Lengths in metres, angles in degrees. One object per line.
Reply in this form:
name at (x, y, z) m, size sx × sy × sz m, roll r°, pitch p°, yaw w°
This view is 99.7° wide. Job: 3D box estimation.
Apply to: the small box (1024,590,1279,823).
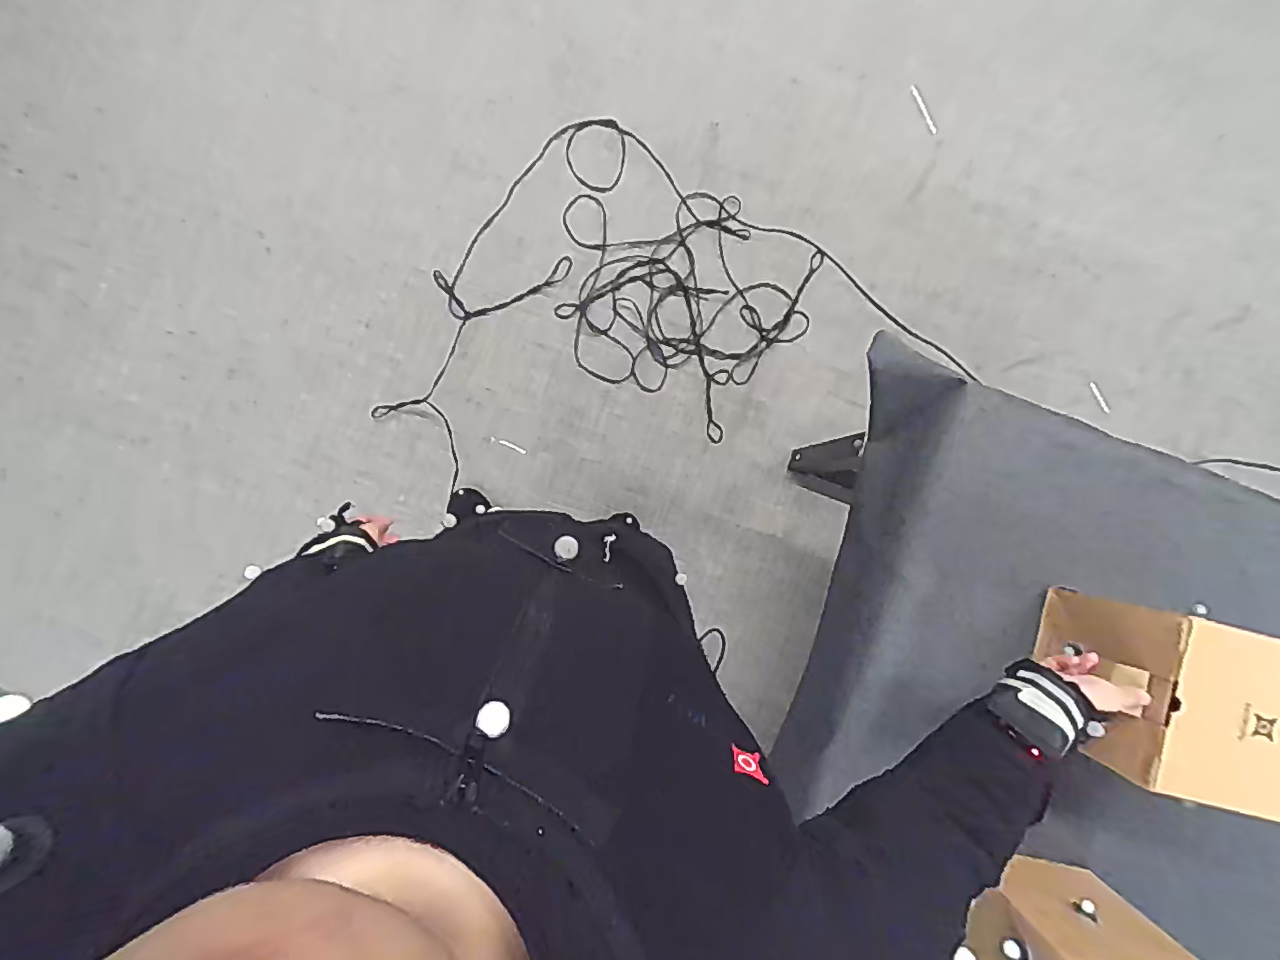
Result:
small box at (0.565, 0.226, 0.575) m, size 0.179 × 0.176 × 0.168 m, roll 14°, pitch 89°, yaw -1°
